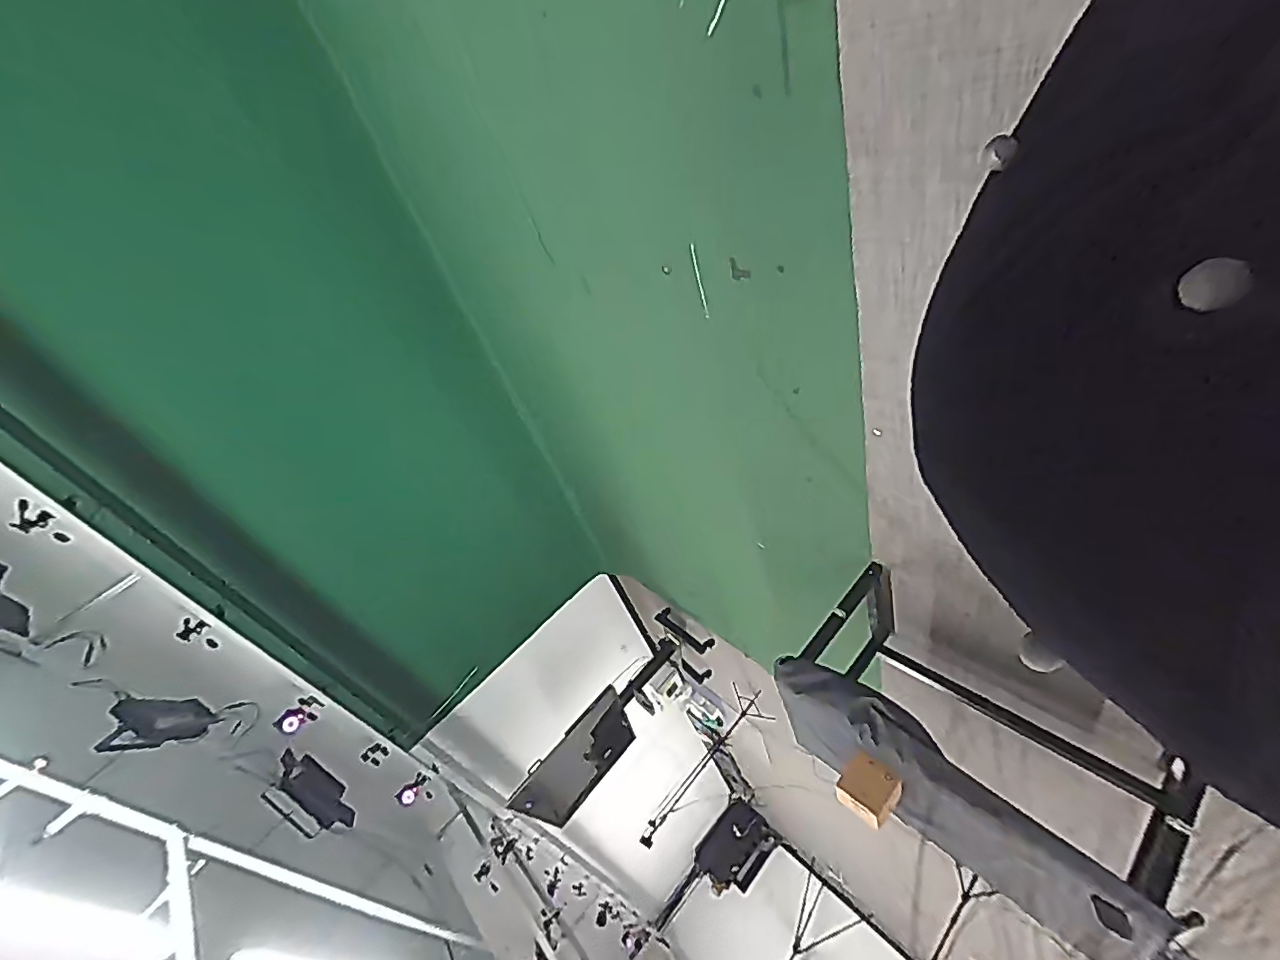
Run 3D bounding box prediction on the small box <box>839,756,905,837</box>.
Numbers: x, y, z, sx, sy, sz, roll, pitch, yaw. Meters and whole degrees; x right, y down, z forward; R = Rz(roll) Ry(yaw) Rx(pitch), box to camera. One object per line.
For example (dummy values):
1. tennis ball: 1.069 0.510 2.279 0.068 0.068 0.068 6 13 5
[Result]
1. small box: 0.855 1.156 1.988 0.168 0.176 0.179 25 149 43
